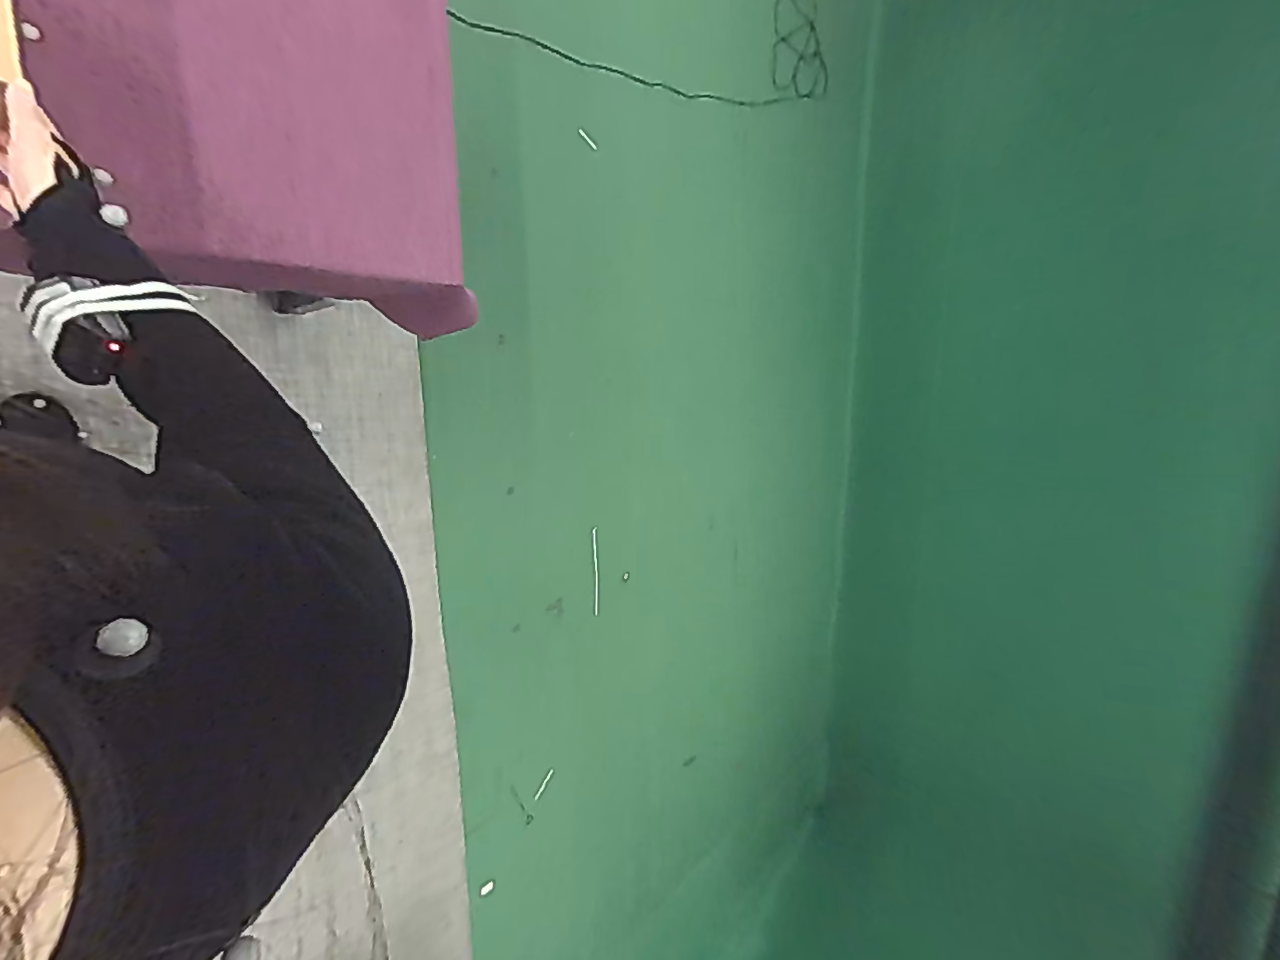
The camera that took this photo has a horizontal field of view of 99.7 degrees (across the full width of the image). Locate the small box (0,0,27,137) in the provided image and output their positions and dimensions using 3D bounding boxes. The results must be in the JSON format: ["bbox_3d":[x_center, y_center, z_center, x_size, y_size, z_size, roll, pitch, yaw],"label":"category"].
[{"bbox_3d":[-0.577,-0.374,0.384,0.179,0.176,0.168,-8,102,-46],"label":"small box"}]
